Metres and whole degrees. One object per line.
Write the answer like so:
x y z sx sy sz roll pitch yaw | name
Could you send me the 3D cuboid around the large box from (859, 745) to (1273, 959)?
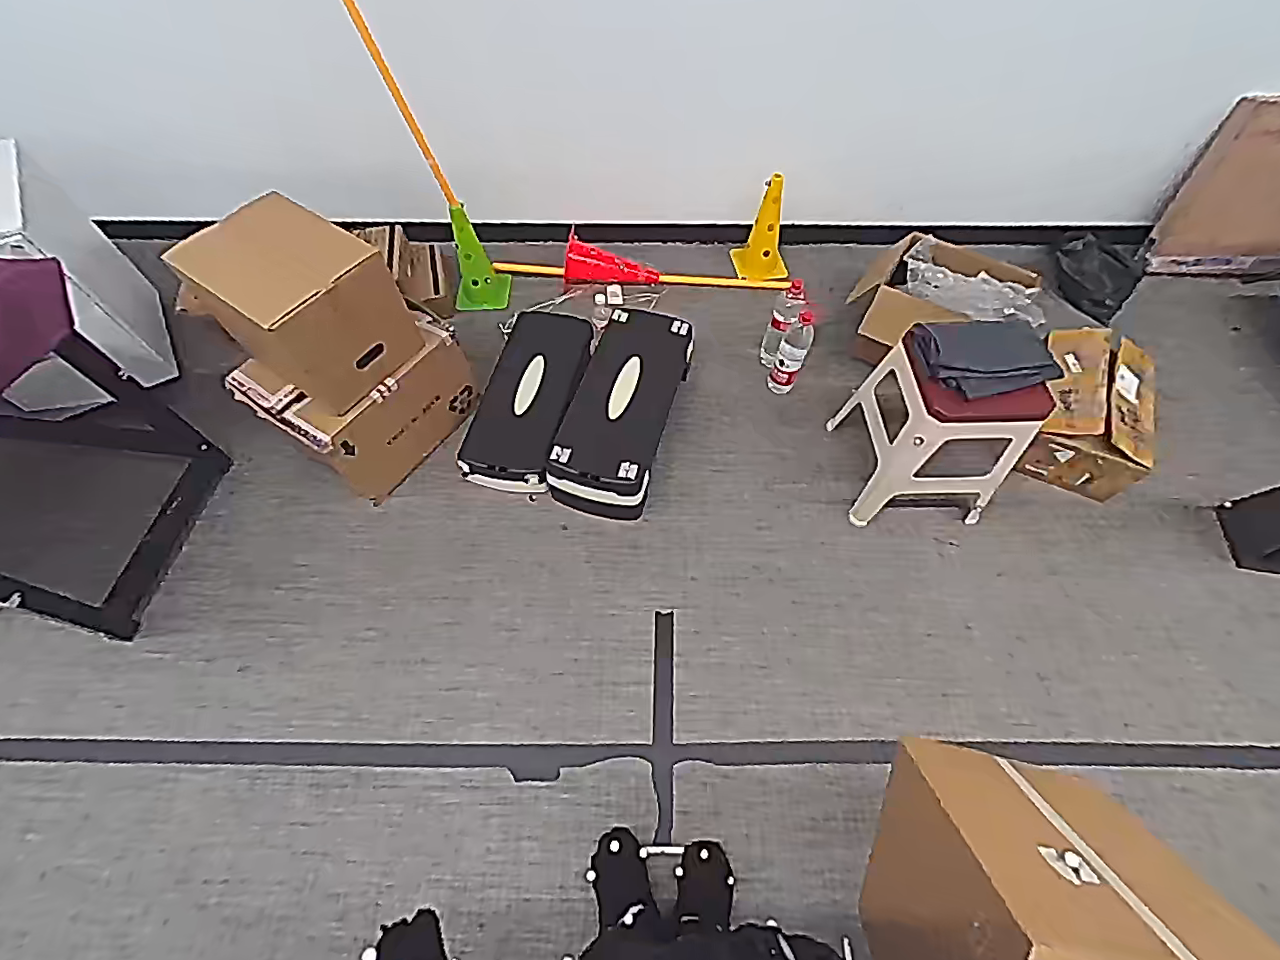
0.521 0.630 0.699 0.320 0.408 0.320 12 94 8 | large box
